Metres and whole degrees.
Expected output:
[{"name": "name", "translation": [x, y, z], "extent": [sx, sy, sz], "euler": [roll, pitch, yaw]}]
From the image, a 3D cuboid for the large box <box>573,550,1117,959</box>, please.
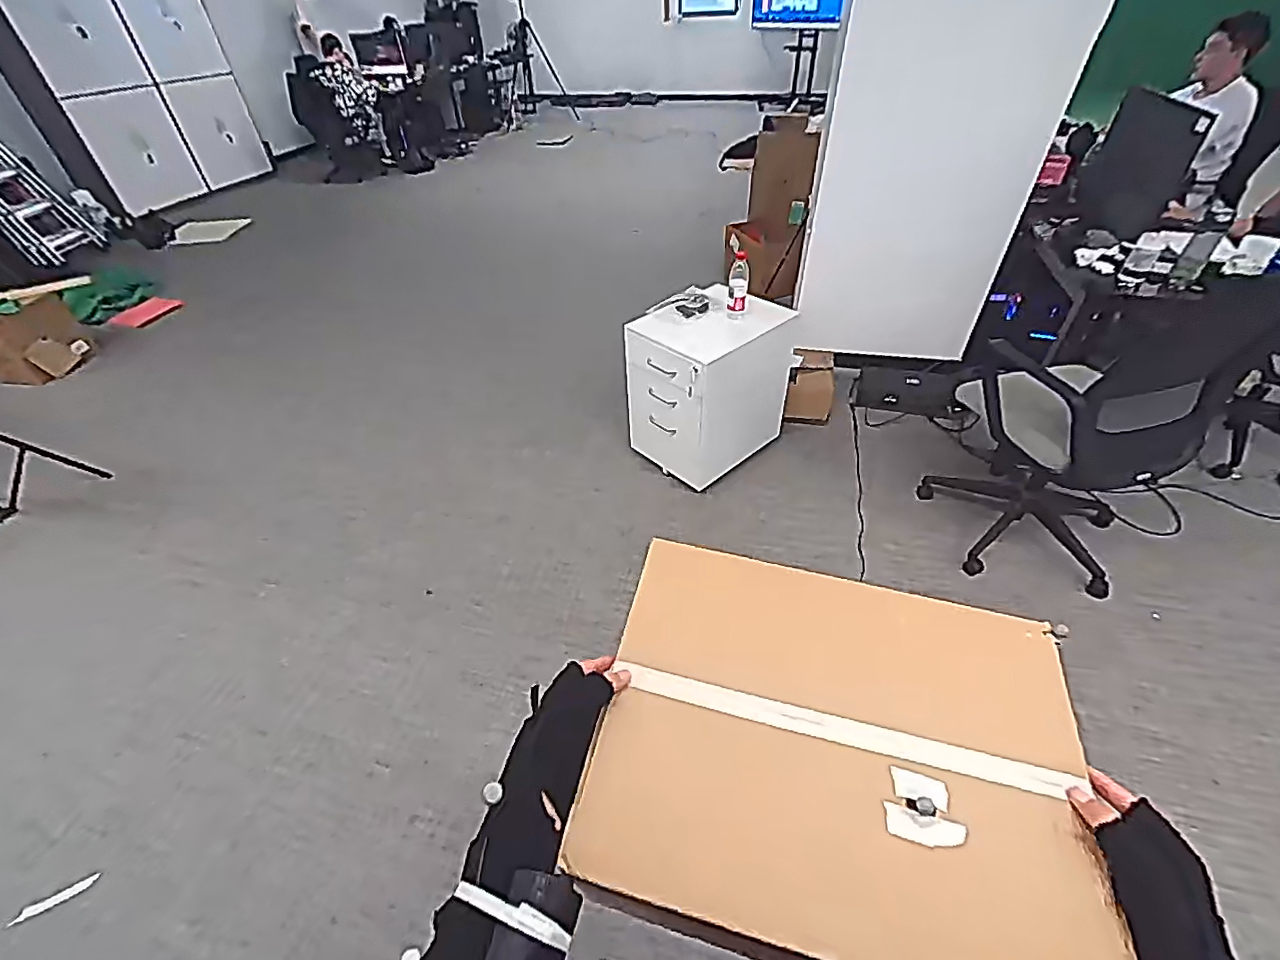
[{"name": "large box", "translation": [0.170, 0.323, 0.594], "extent": [0.408, 0.320, 0.320], "euler": [12, 50, 9]}]
